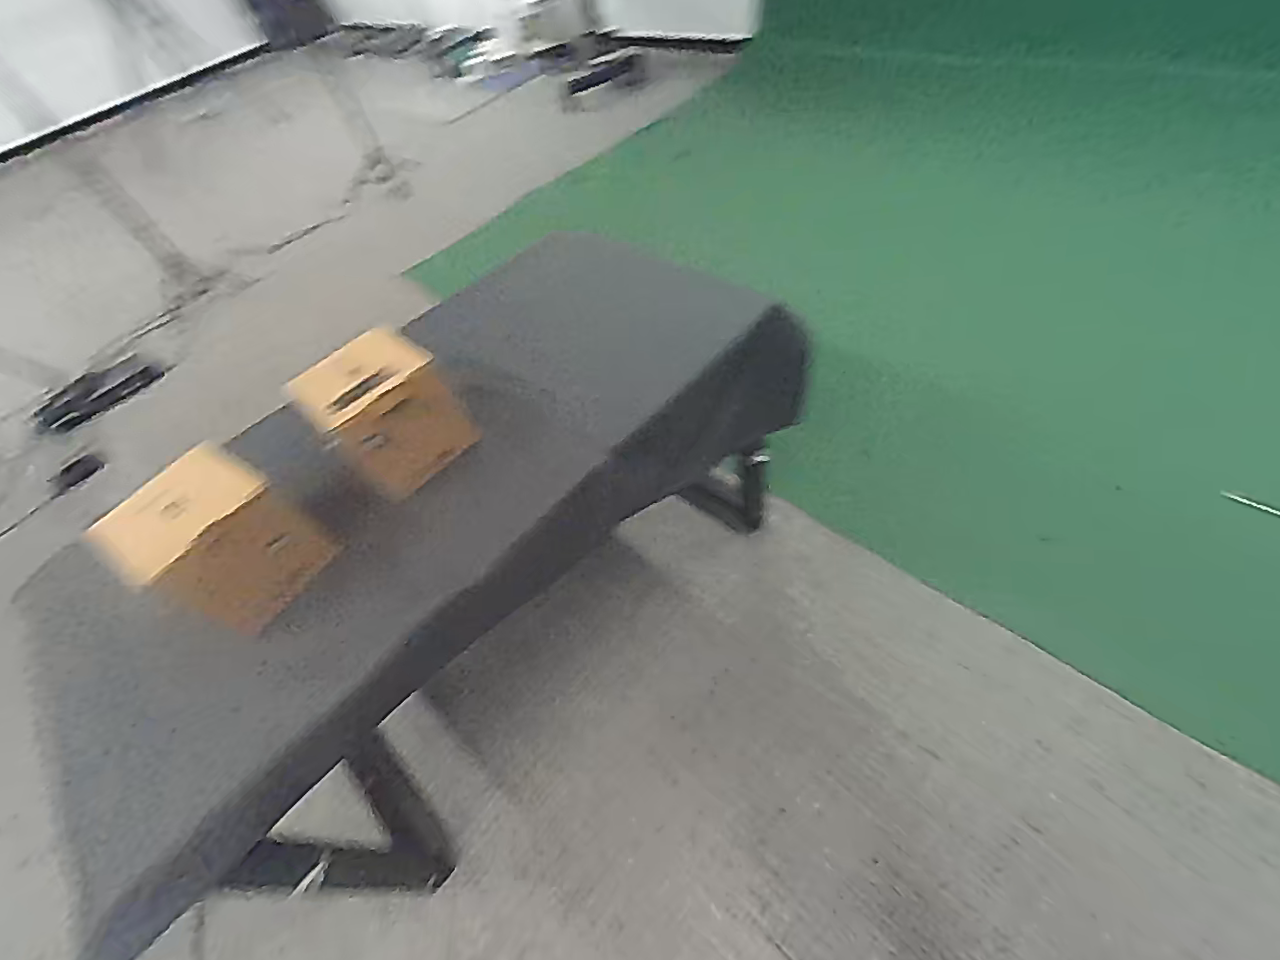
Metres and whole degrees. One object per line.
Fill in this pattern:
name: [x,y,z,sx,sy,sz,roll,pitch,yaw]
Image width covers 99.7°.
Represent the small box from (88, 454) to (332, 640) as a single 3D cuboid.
small box: [-0.576,0.097,0.747,0.179,0.176,0.168,20,58,28]
